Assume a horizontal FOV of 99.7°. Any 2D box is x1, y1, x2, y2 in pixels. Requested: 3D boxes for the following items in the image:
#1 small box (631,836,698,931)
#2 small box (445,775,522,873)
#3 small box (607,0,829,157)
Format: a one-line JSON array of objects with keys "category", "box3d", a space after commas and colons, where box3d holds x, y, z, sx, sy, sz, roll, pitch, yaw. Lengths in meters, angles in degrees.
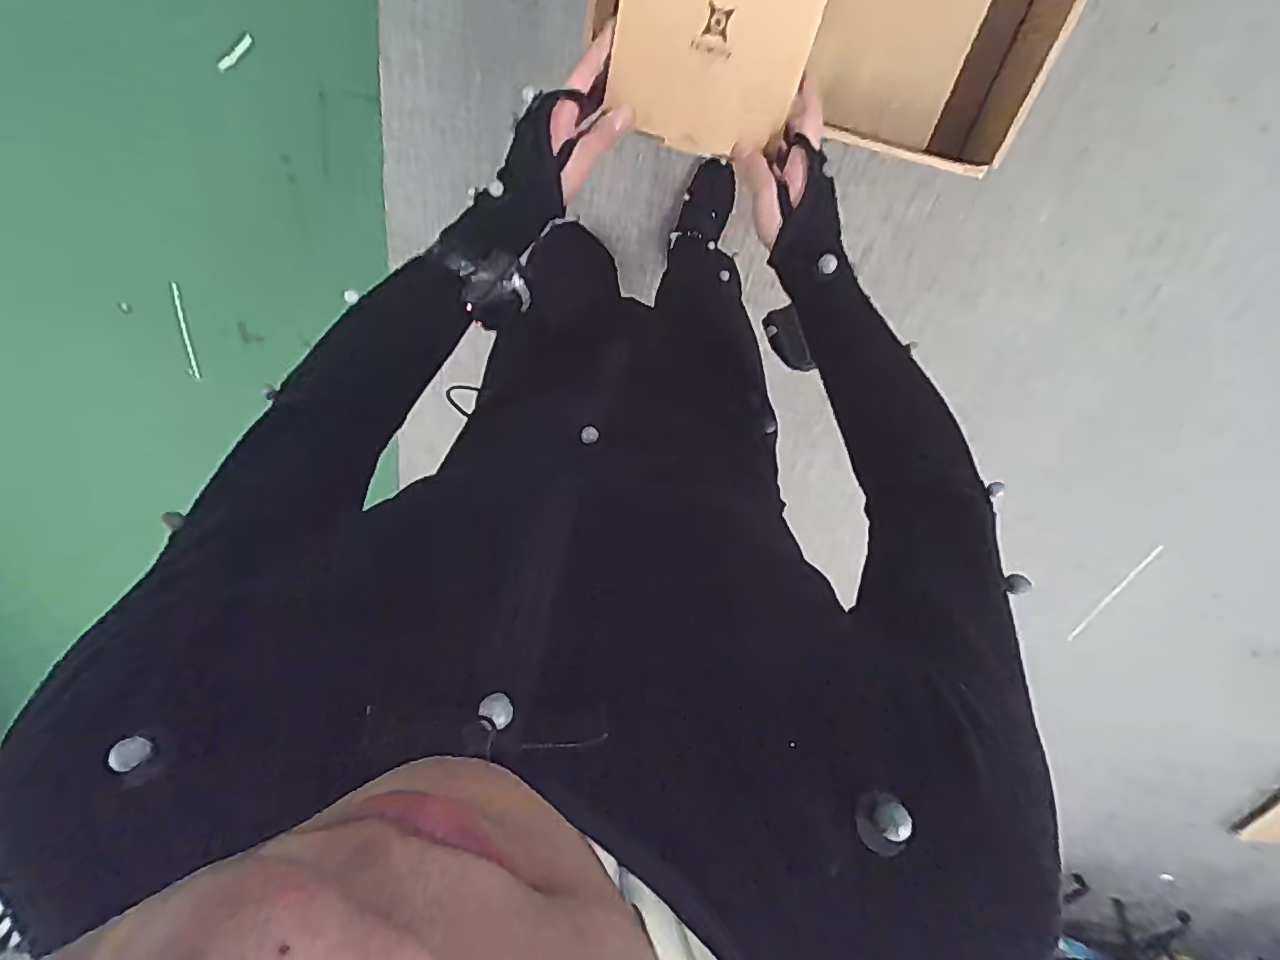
[{"category": "small box", "box3d": [0.078, 1.219, 1.636, 0.168, 0.176, 0.179, 13, 124, -2]}, {"category": "small box", "box3d": [-0.438, 0.969, 1.526, 0.168, 0.176, 0.179, 13, 125, -3]}, {"category": "small box", "box3d": [0.068, -0.431, 0.507, 0.168, 0.176, 0.179, 11, 127, -7]}]
